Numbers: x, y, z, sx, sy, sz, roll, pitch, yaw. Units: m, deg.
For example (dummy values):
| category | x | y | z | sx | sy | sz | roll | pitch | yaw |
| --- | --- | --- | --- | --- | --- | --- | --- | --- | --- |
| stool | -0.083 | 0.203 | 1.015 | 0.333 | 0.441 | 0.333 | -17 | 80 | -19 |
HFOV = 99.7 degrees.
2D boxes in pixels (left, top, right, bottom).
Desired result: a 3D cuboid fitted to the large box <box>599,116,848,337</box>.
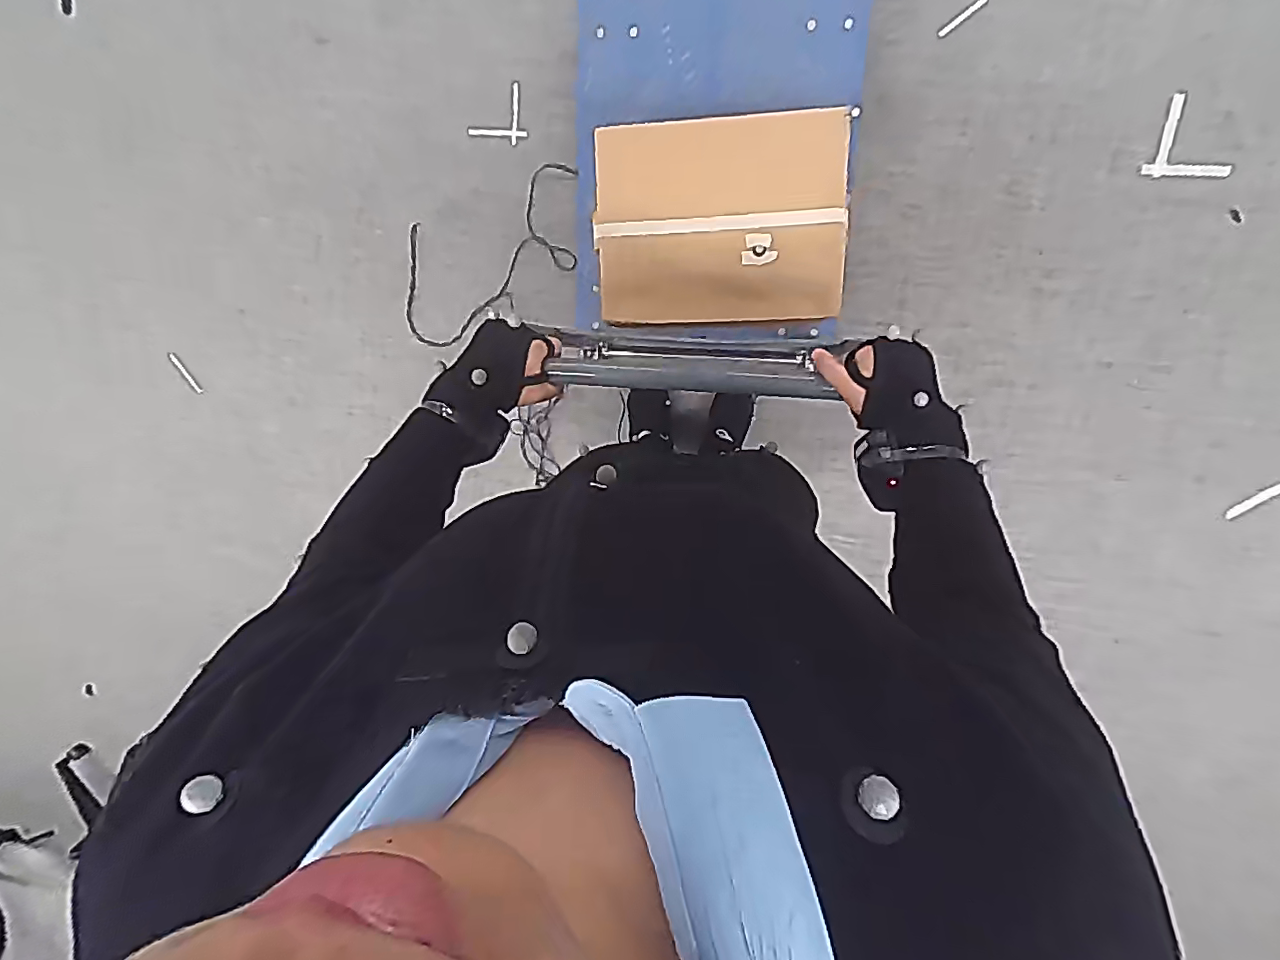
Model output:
| category | x | y | z | sx | sy | sz | roll | pitch | yaw |
| --- | --- | --- | --- | --- | --- | --- | --- | --- | --- |
| large box | 0.150 | -0.450 | 1.044 | 0.408 | 0.320 | 0.320 | 0 | 104 | 7 |
